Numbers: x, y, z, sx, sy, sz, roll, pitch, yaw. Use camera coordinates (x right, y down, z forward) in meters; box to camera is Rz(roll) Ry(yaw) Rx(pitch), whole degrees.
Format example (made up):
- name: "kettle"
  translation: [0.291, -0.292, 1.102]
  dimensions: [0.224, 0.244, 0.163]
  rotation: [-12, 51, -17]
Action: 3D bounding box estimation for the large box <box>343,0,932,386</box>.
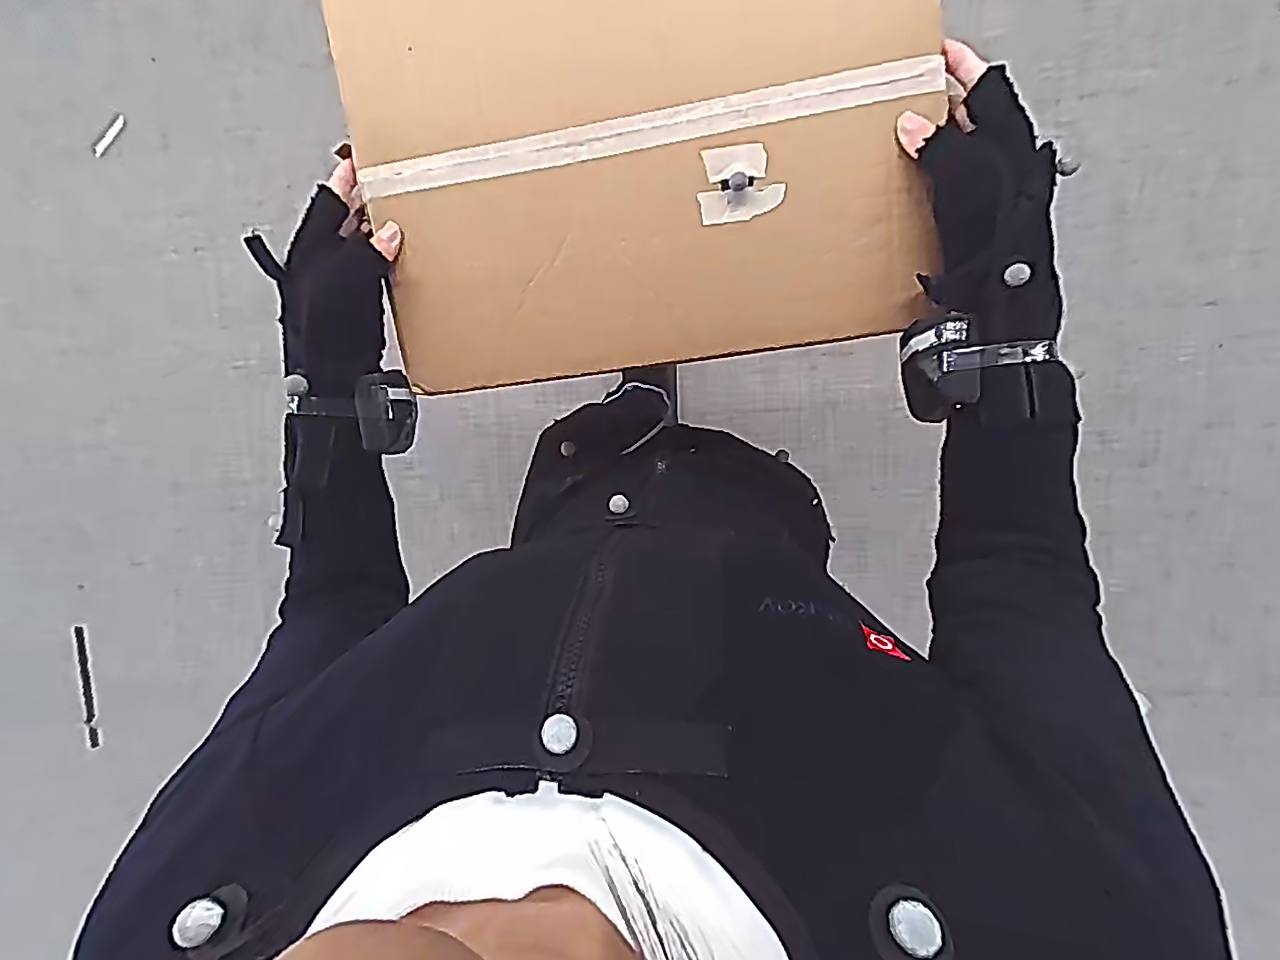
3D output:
- name: "large box"
  translation: [0.011, -0.281, 0.535]
  dimensions: [0.408, 0.320, 0.320]
  rotation: [-7, 103, 7]
